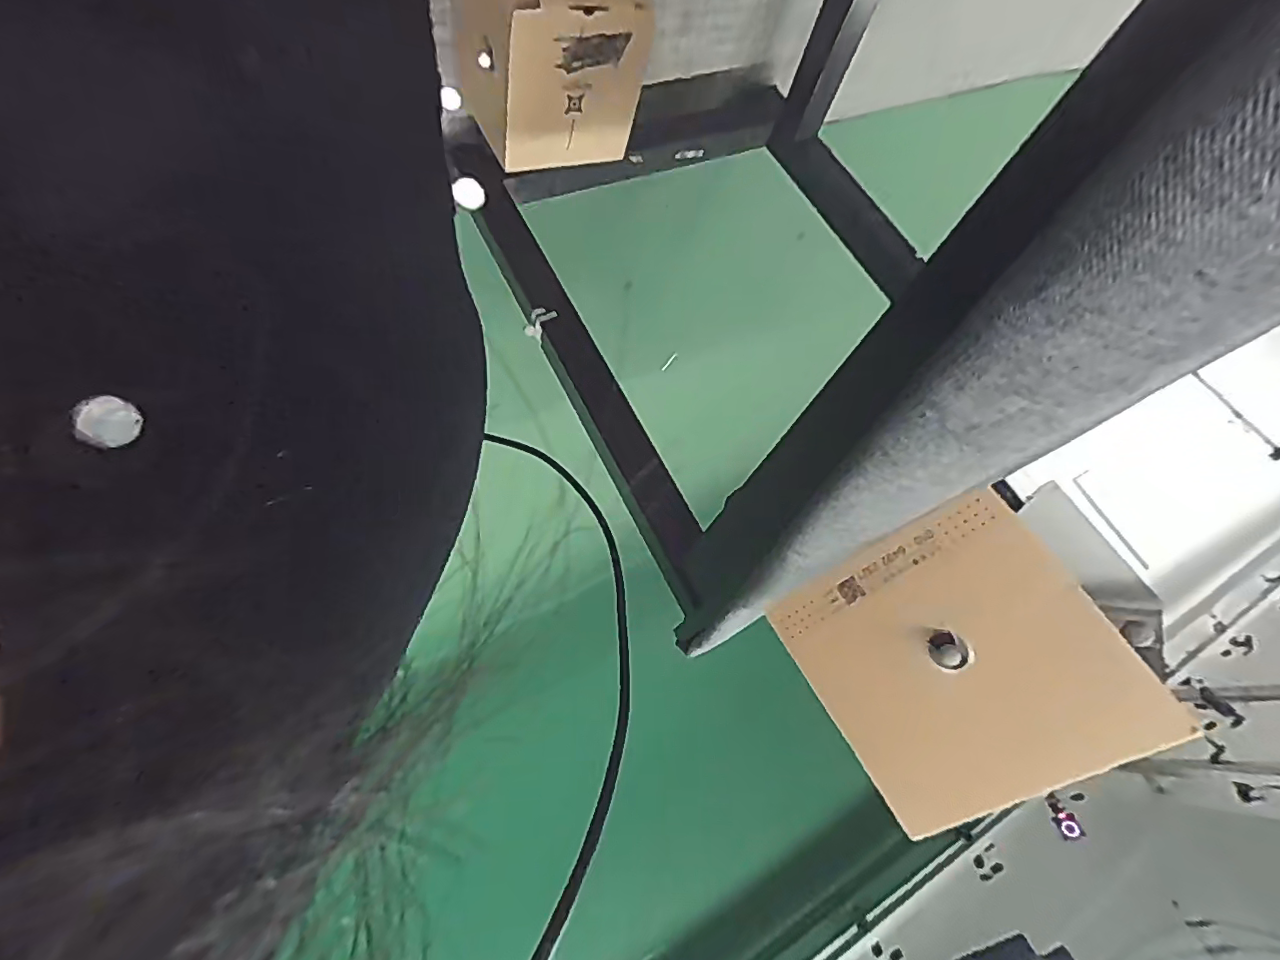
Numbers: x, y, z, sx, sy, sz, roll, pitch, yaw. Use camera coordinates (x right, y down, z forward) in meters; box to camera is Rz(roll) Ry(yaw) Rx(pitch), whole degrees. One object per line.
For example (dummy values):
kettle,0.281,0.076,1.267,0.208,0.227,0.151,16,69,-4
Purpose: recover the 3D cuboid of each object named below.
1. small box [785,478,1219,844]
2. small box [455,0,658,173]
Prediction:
small box,0.233,0.111,0.397,0.168,0.176,0.179,-39,161,23
small box,-0.106,-0.497,0.624,0.168,0.176,0.179,-21,162,-23
